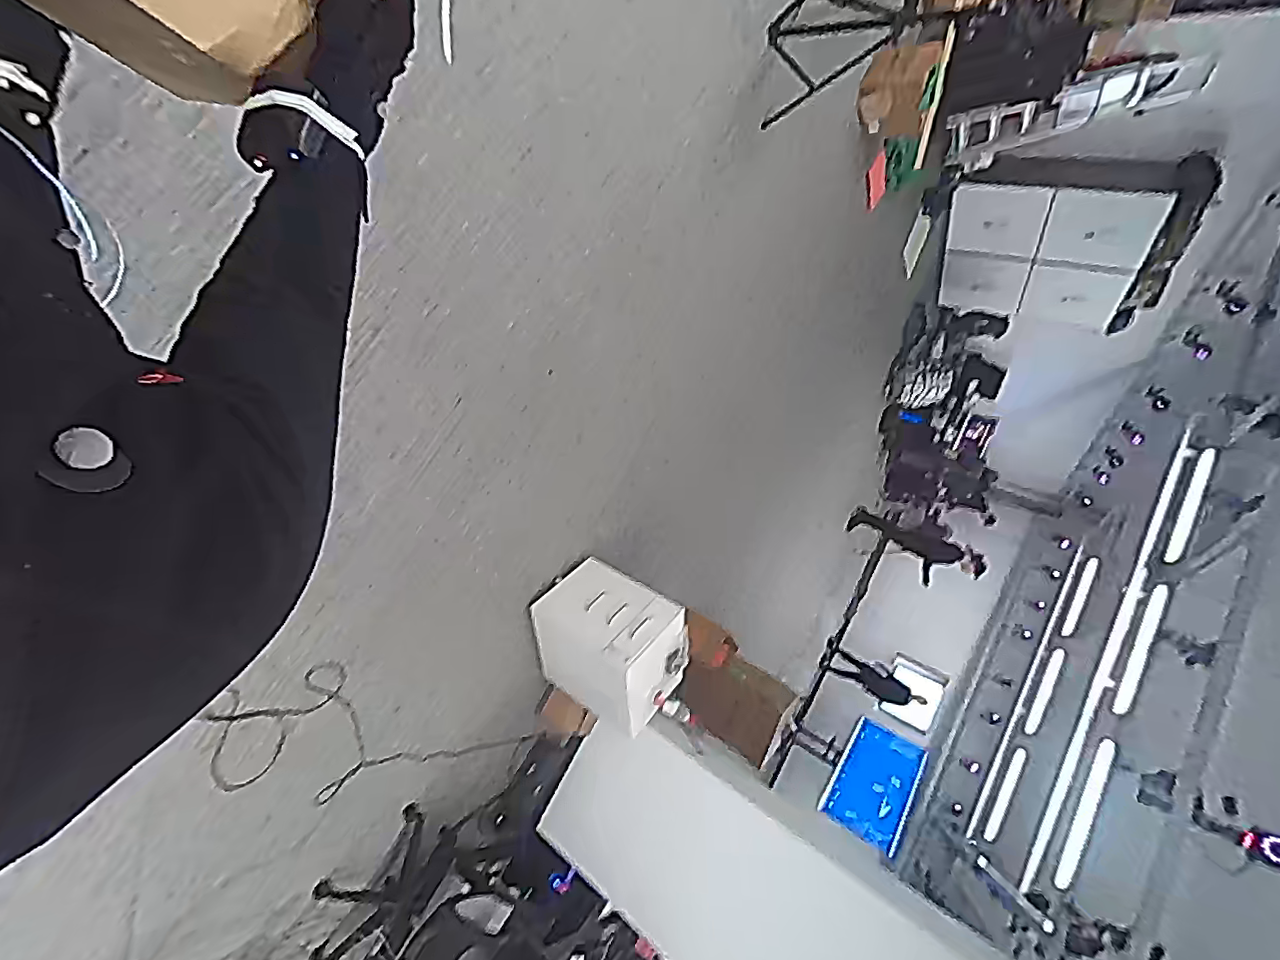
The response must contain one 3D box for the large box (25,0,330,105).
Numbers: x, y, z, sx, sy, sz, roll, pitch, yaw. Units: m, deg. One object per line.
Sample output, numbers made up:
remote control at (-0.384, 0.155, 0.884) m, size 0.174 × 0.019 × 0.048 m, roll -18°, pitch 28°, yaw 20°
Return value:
large box at (-0.457, -0.551, 0.367) m, size 0.408 × 0.320 × 0.320 m, roll 16°, pitch 101°, yaw -59°
